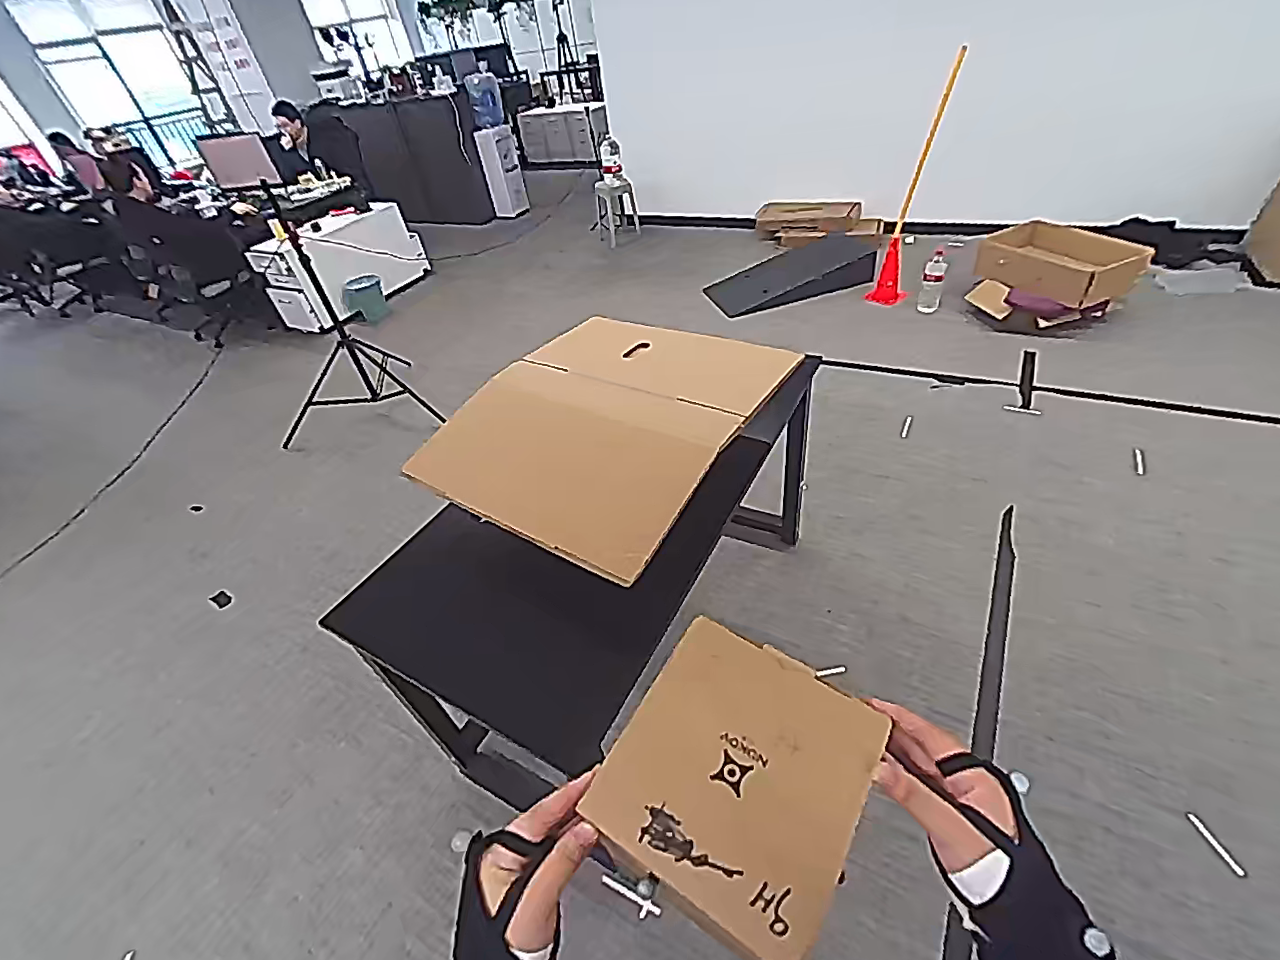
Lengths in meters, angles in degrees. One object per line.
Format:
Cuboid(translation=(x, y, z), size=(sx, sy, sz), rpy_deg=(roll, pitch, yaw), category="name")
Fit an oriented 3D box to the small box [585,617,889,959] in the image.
Cuboid(translation=(0.077, 0.256, 0.449), size=(0.168, 0.176, 0.179), rpy_deg=(24, 54, 26), category="small box")
